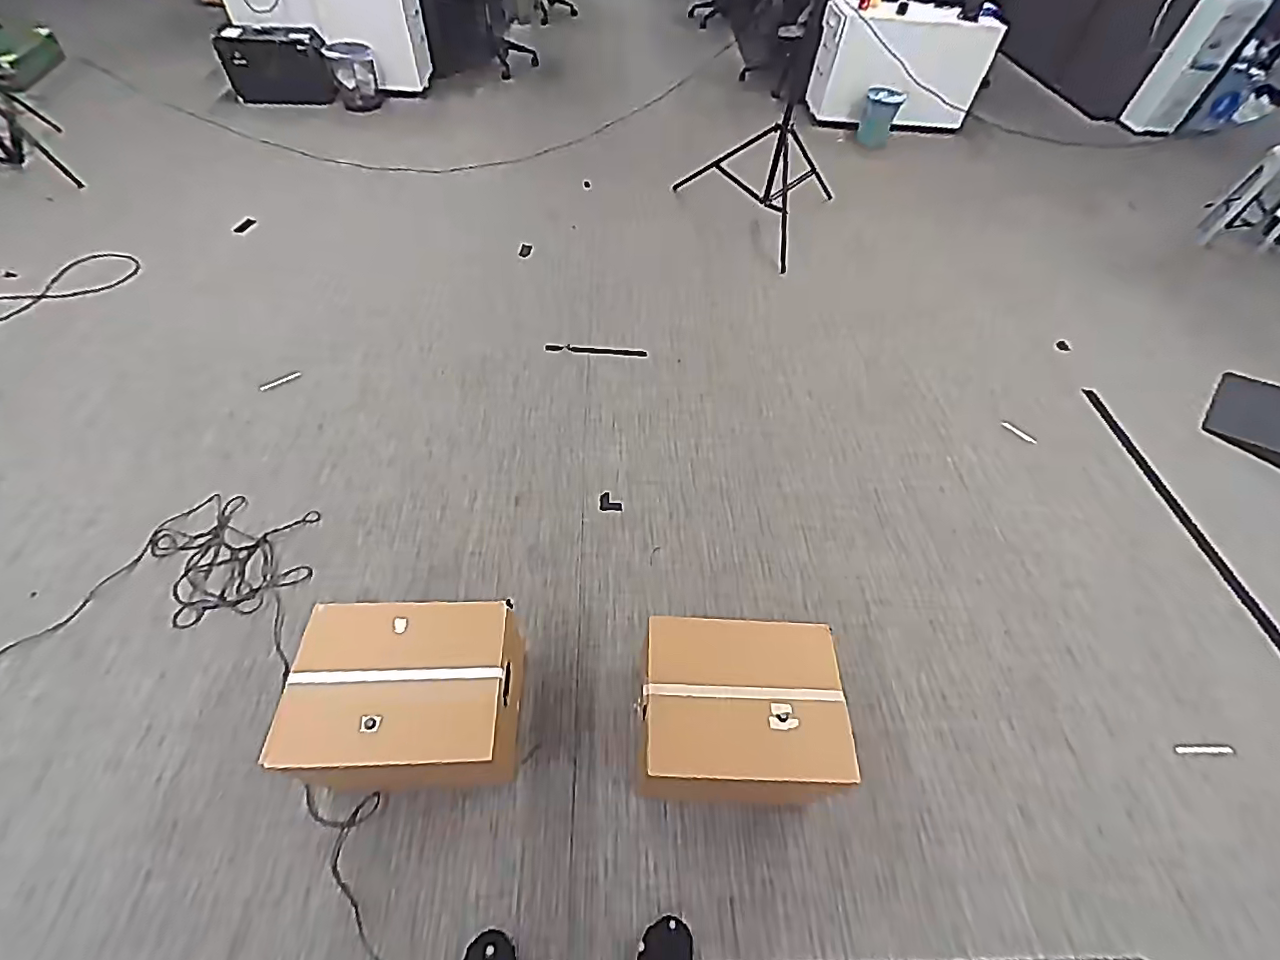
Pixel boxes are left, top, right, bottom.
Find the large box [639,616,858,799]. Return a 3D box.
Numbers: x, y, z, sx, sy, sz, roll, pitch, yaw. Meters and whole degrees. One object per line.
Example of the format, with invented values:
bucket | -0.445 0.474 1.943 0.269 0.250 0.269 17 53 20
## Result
large box | 0.207 0.522 1.222 0.408 0.320 0.320 4 53 -3
